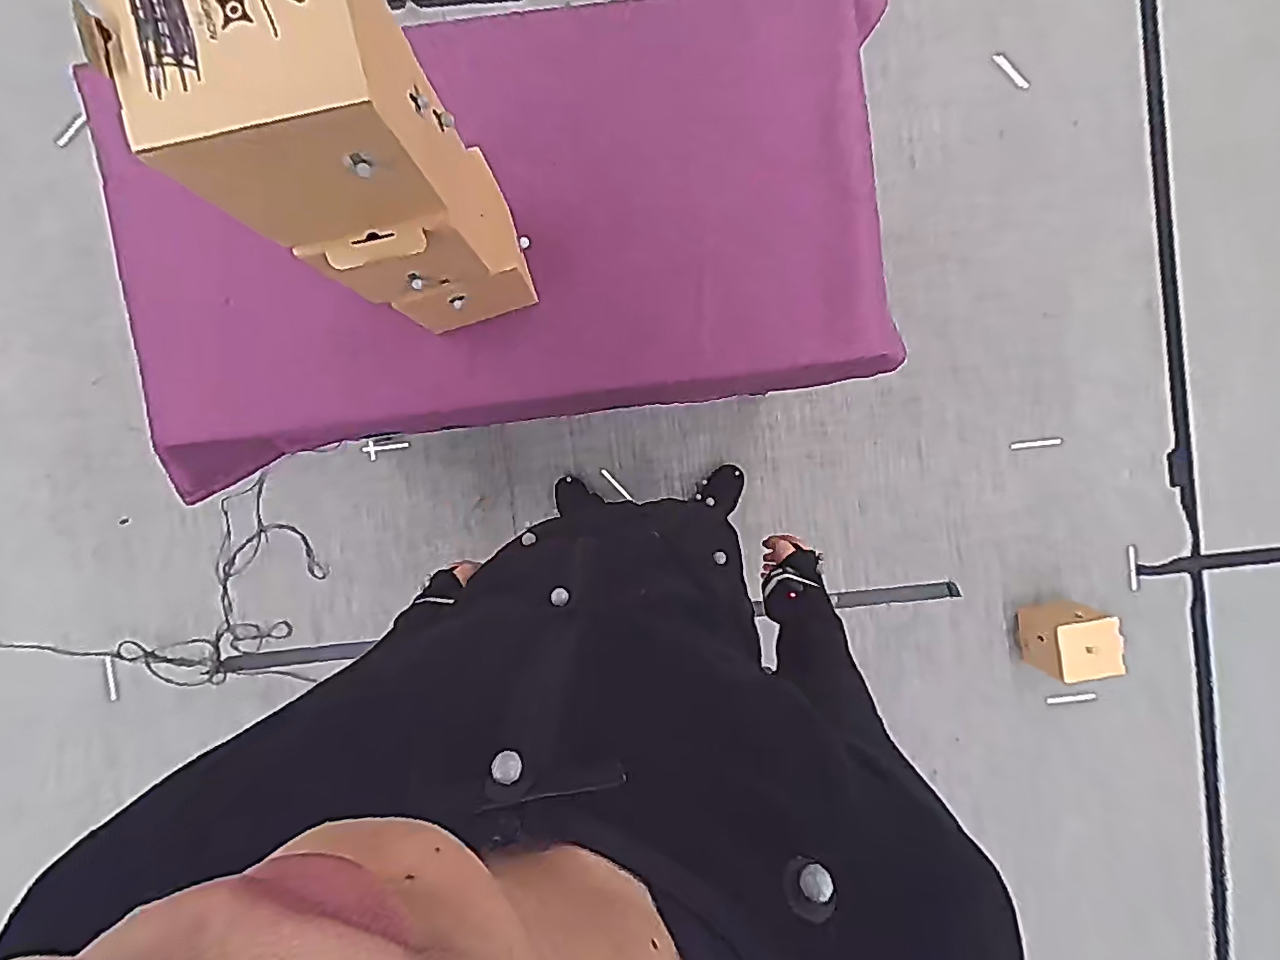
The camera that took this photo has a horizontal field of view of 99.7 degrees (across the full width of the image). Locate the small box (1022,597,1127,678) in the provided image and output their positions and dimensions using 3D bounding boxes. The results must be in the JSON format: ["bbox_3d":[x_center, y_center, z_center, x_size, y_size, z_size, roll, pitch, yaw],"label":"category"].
[{"bbox_3d":[1.254,0.452,1.577,0.179,0.176,0.168,-10,94,0],"label":"small box"}]

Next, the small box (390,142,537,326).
[{"bbox_3d":[-0.265,-0.338,0.782,0.179,0.176,0.168,-18,93,0],"label":"small box"}]

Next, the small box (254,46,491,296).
[{"bbox_3d":[-0.286,-0.333,0.617,0.168,0.176,0.179,-12,93,1],"label":"small box"}]
